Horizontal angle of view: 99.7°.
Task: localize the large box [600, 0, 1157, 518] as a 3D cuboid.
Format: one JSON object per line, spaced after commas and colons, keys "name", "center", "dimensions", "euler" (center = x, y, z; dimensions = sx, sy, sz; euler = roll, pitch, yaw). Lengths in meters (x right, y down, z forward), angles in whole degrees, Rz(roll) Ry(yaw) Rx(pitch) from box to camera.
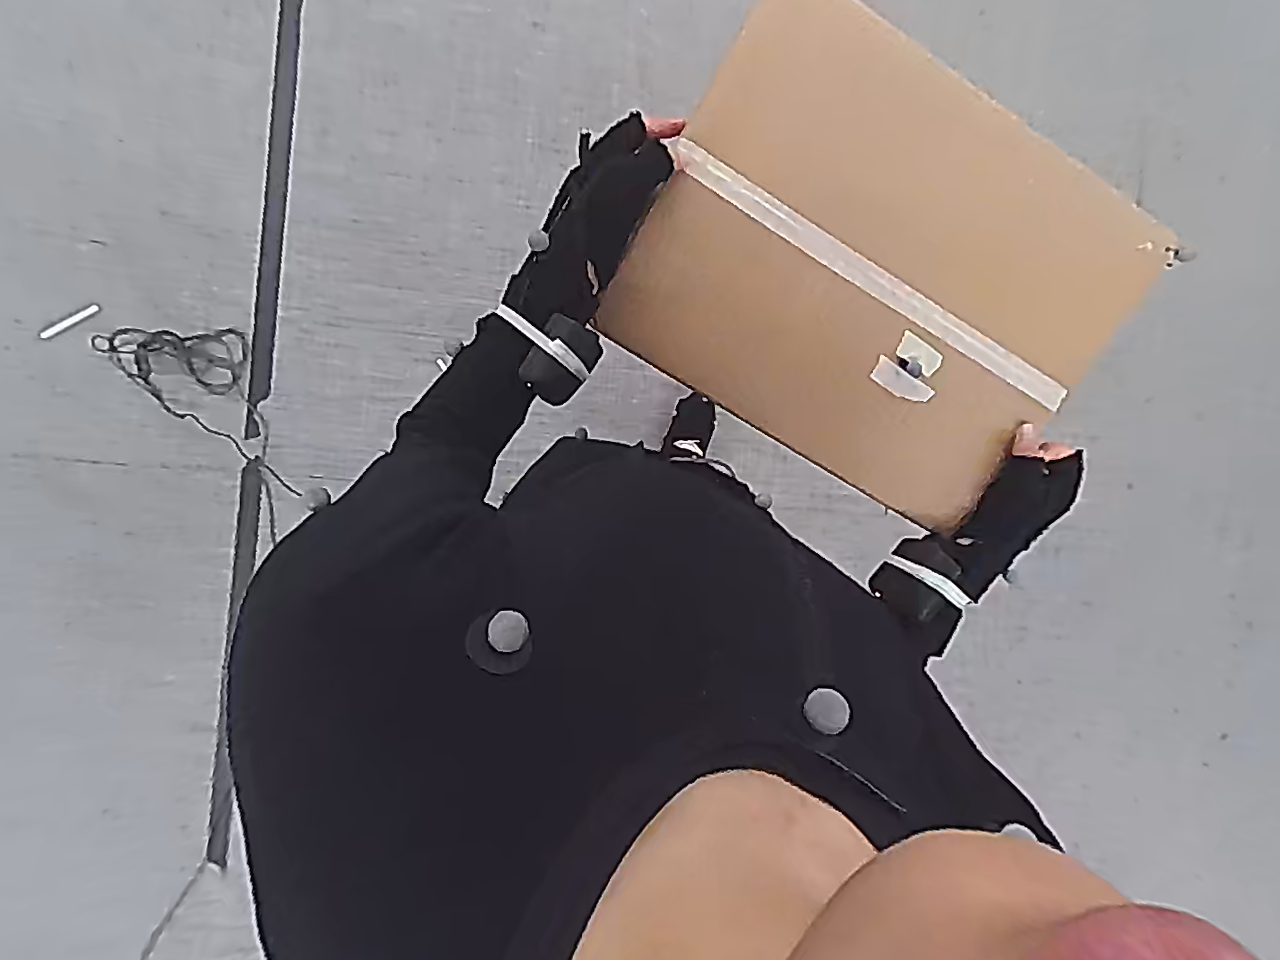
{"name": "large box", "center": [0.205, -0.219, 0.622], "dimensions": [0.408, 0.320, 0.320], "euler": [30, 104, -8]}
